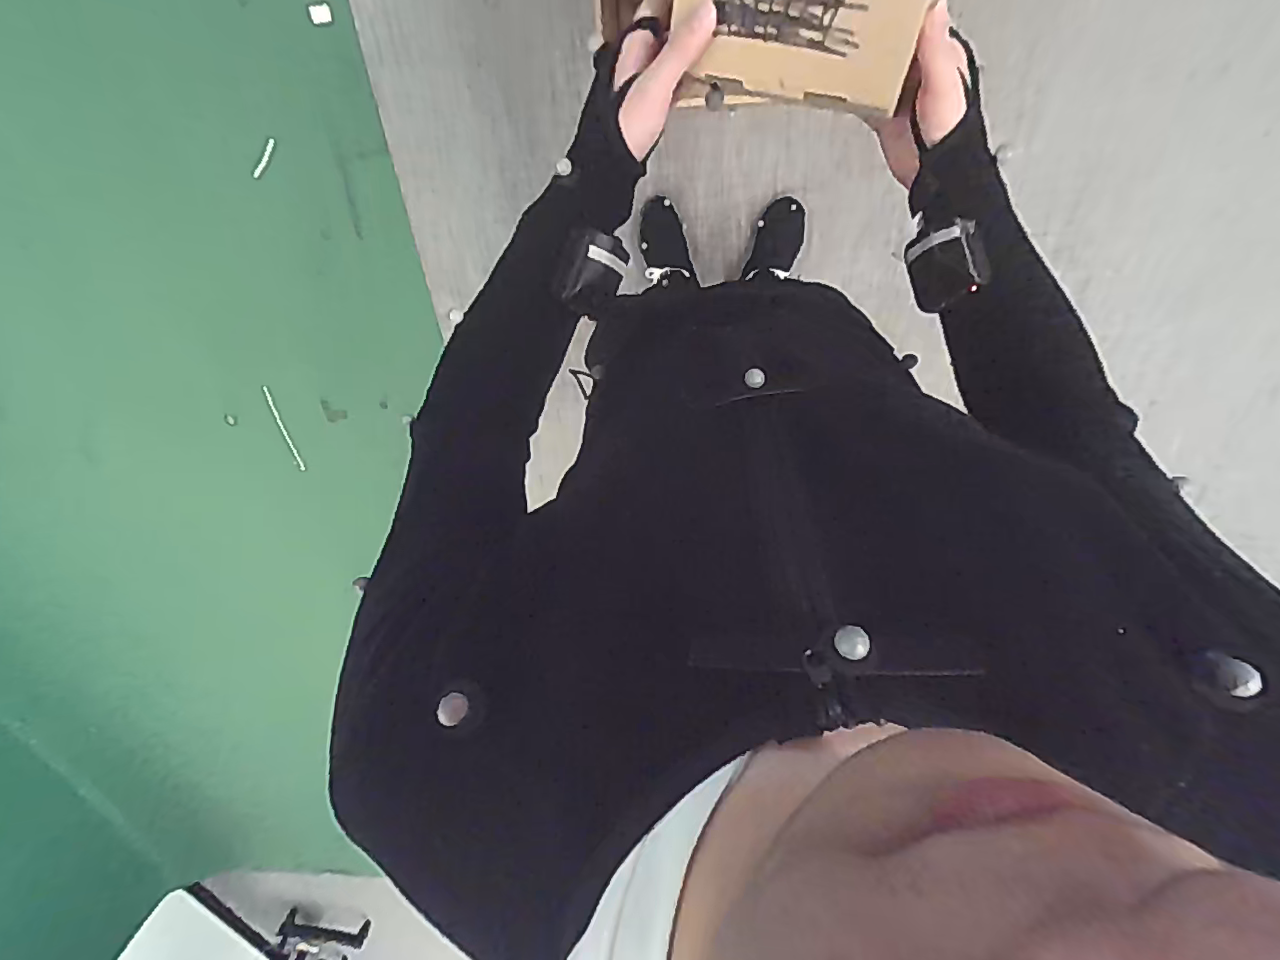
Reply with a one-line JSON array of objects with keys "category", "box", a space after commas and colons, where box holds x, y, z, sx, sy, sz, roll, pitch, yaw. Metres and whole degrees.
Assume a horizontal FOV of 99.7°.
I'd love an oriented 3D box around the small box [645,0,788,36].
[{"category": "small box", "box": [0.100, -0.645, 0.628, 0.168, 0.176, 0.179, 7, 121, 0]}]
